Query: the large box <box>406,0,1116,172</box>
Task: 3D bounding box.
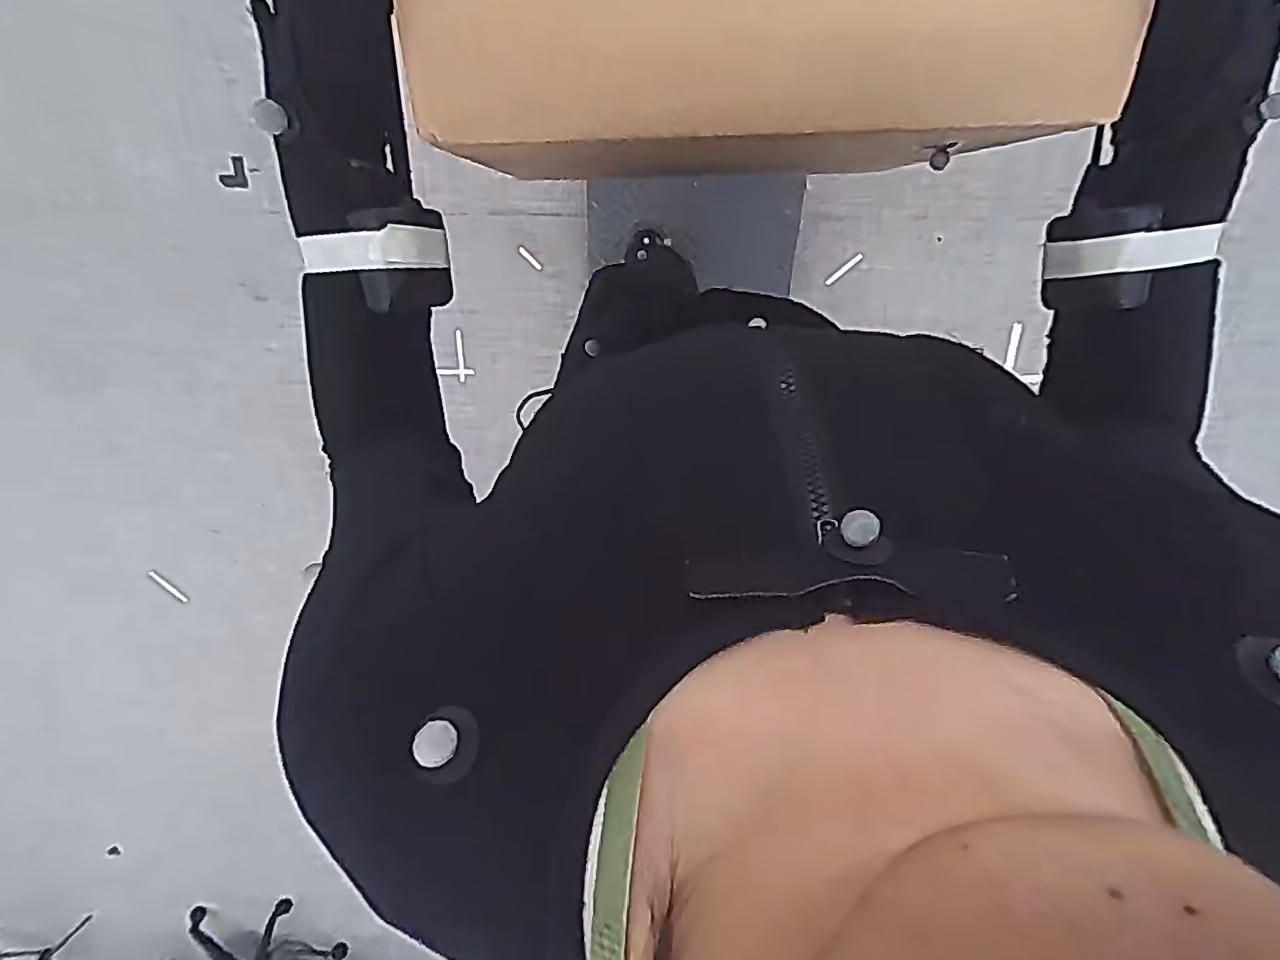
[{"bbox_3d":[0.064,-0.414,0.391,0.408,0.320,0.320,-2,115,-1],"label":"large box"}]
